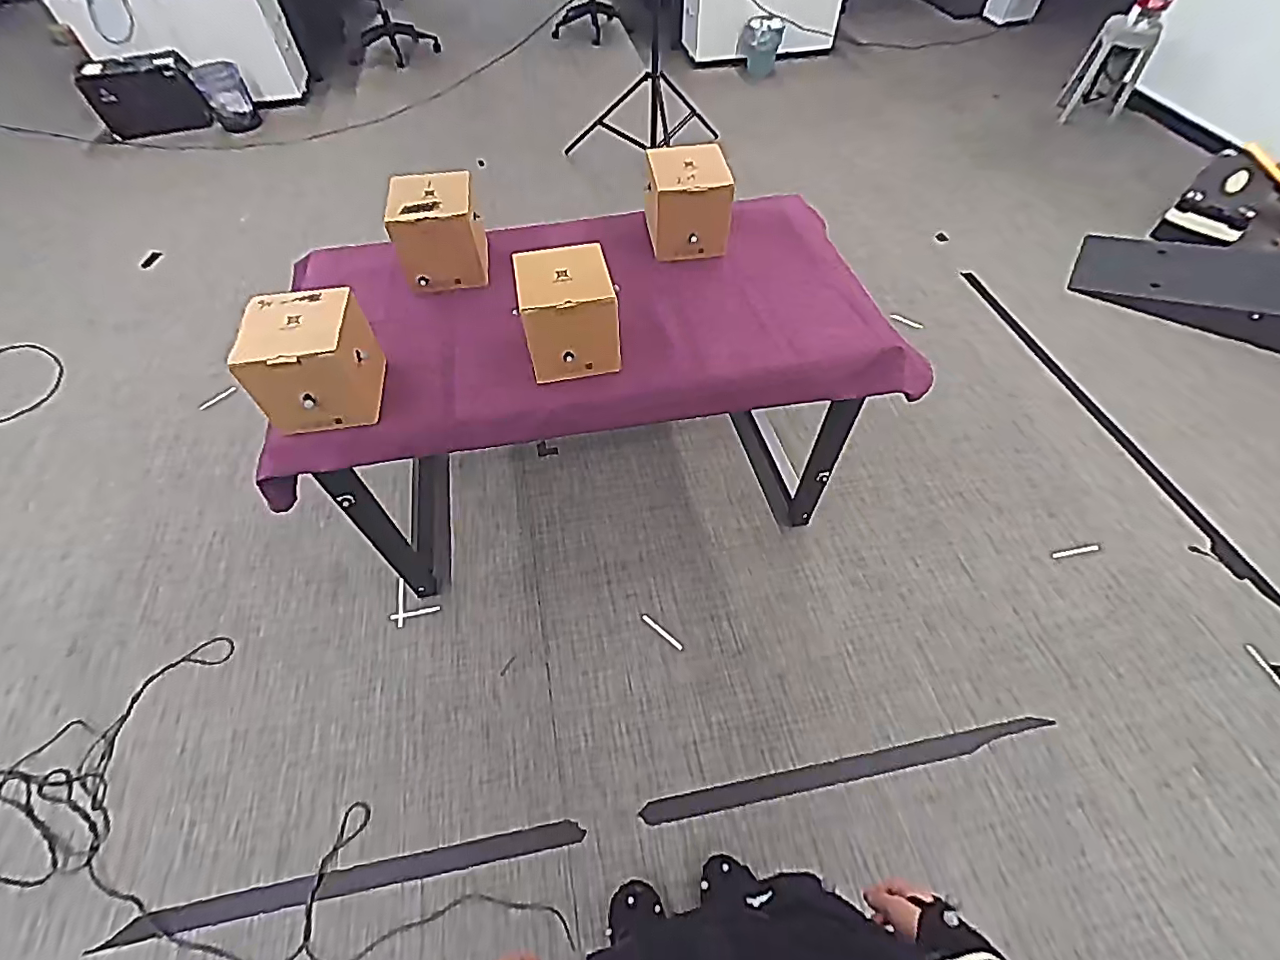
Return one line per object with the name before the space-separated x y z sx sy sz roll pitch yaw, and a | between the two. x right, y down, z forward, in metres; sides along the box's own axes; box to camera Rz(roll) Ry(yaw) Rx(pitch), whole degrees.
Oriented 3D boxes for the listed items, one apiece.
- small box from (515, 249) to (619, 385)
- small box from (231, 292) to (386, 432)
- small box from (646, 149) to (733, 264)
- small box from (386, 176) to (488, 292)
small box | -0.137 -0.308 1.027 0.168 0.176 0.179 -11 55 -7
small box | -0.566 -0.200 0.953 0.168 0.176 0.179 -8 55 -6
small box | 0.105 -0.625 1.241 0.168 0.176 0.179 -7 58 -3
small box | -0.434 -0.531 1.184 0.168 0.176 0.179 -8 56 -5
